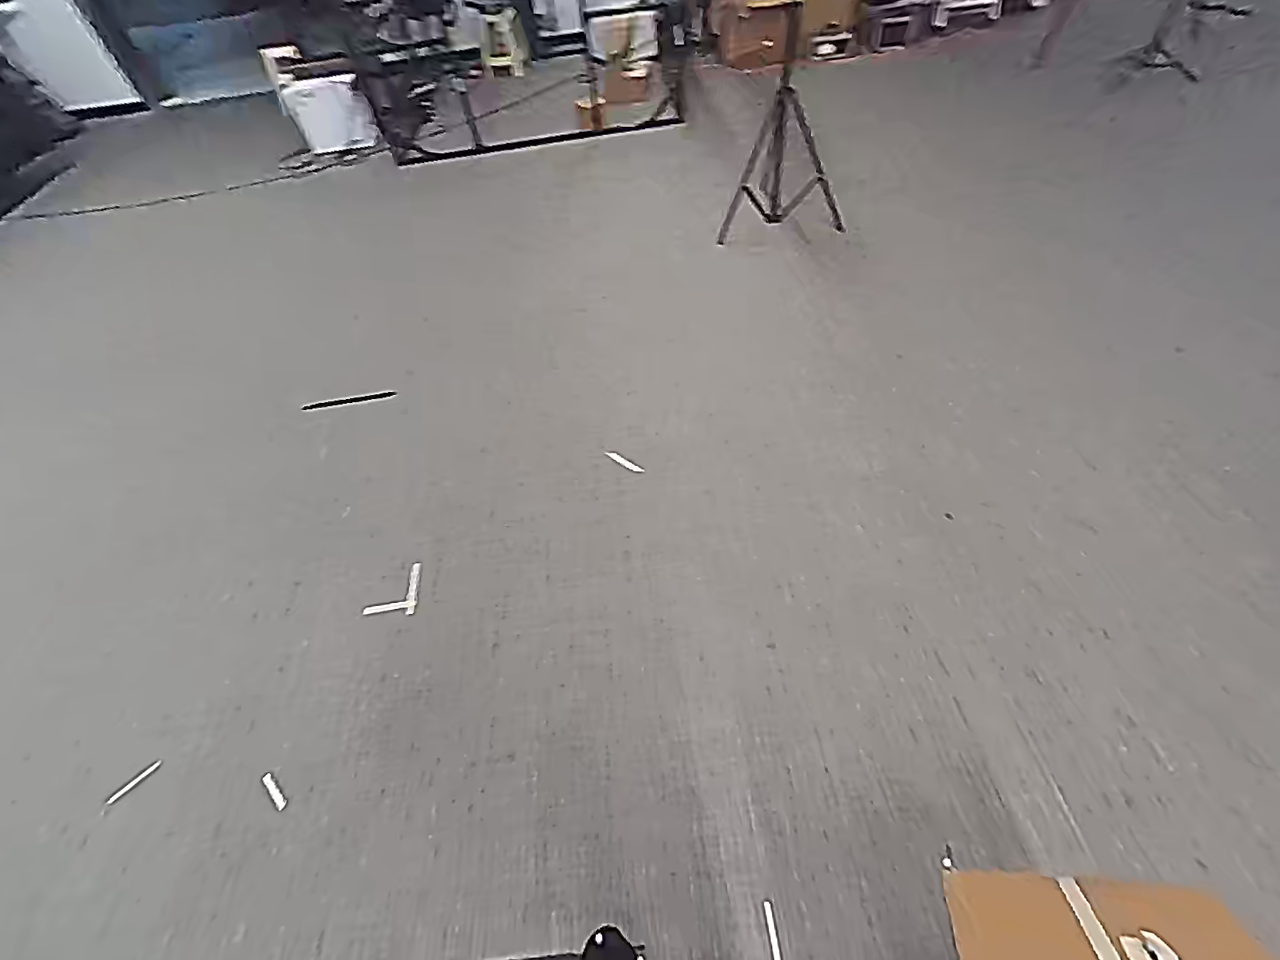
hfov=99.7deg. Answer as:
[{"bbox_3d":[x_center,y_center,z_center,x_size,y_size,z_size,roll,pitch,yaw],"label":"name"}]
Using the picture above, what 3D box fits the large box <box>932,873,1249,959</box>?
[{"bbox_3d":[0.538,0.707,0.568,0.320,0.408,0.320,-10,83,20],"label":"large box"}]
